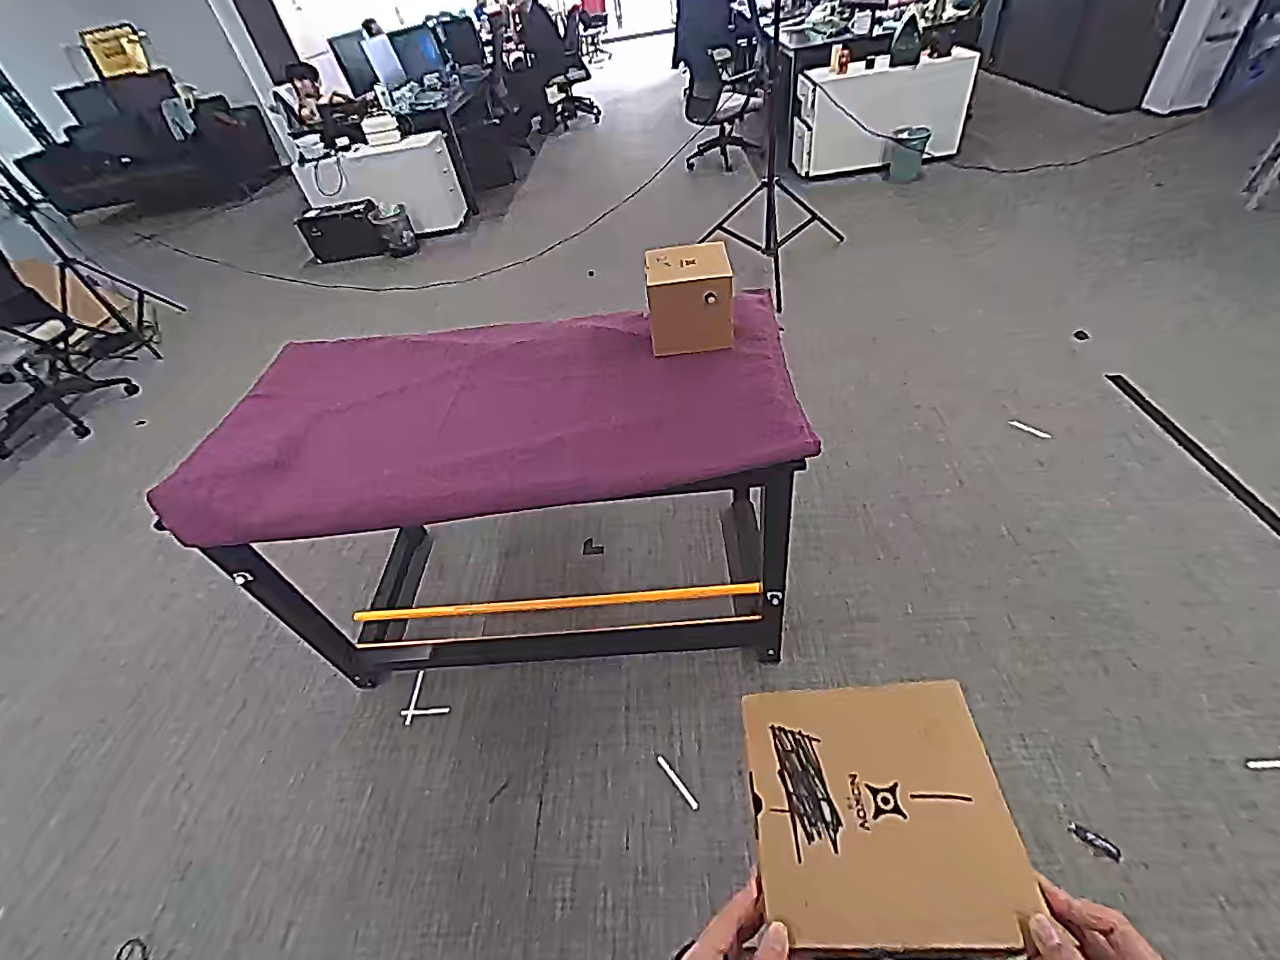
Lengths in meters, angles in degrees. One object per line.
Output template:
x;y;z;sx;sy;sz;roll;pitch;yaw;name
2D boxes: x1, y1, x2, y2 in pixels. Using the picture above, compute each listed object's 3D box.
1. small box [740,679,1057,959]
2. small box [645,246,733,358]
0.186;0.284;0.446;0.179;0.176;0.168;-9;46;10;small box
0.106;-0.387;1.184;0.179;0.176;0.168;-6;45;5;small box
